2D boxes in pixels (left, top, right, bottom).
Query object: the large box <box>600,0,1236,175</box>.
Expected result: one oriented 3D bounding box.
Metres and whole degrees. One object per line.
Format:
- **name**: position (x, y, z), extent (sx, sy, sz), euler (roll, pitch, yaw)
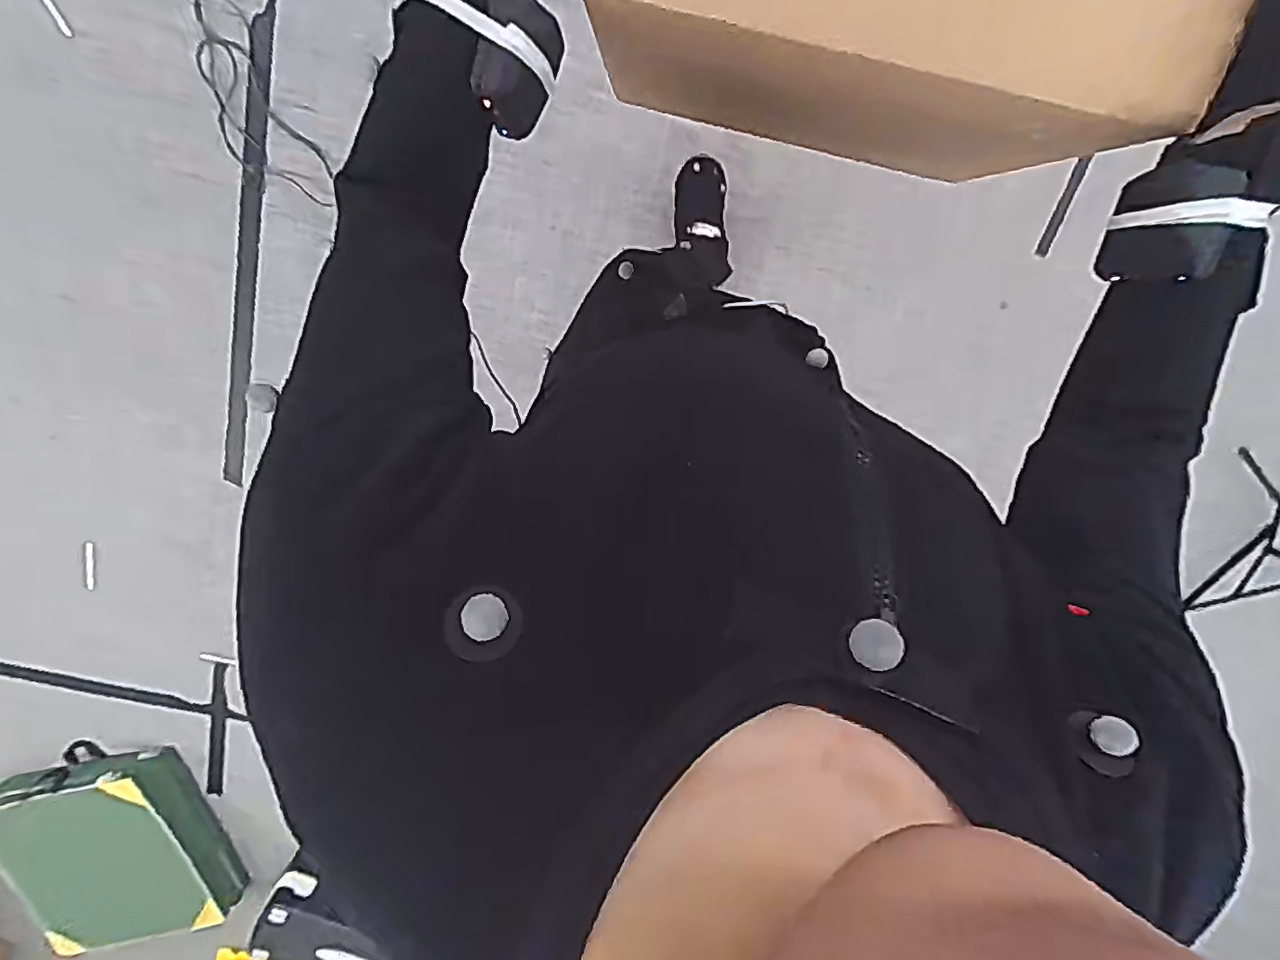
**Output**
- **large box**: position (0.195, -0.469, 0.428), extent (0.408, 0.320, 0.320), euler (12, 115, -4)
